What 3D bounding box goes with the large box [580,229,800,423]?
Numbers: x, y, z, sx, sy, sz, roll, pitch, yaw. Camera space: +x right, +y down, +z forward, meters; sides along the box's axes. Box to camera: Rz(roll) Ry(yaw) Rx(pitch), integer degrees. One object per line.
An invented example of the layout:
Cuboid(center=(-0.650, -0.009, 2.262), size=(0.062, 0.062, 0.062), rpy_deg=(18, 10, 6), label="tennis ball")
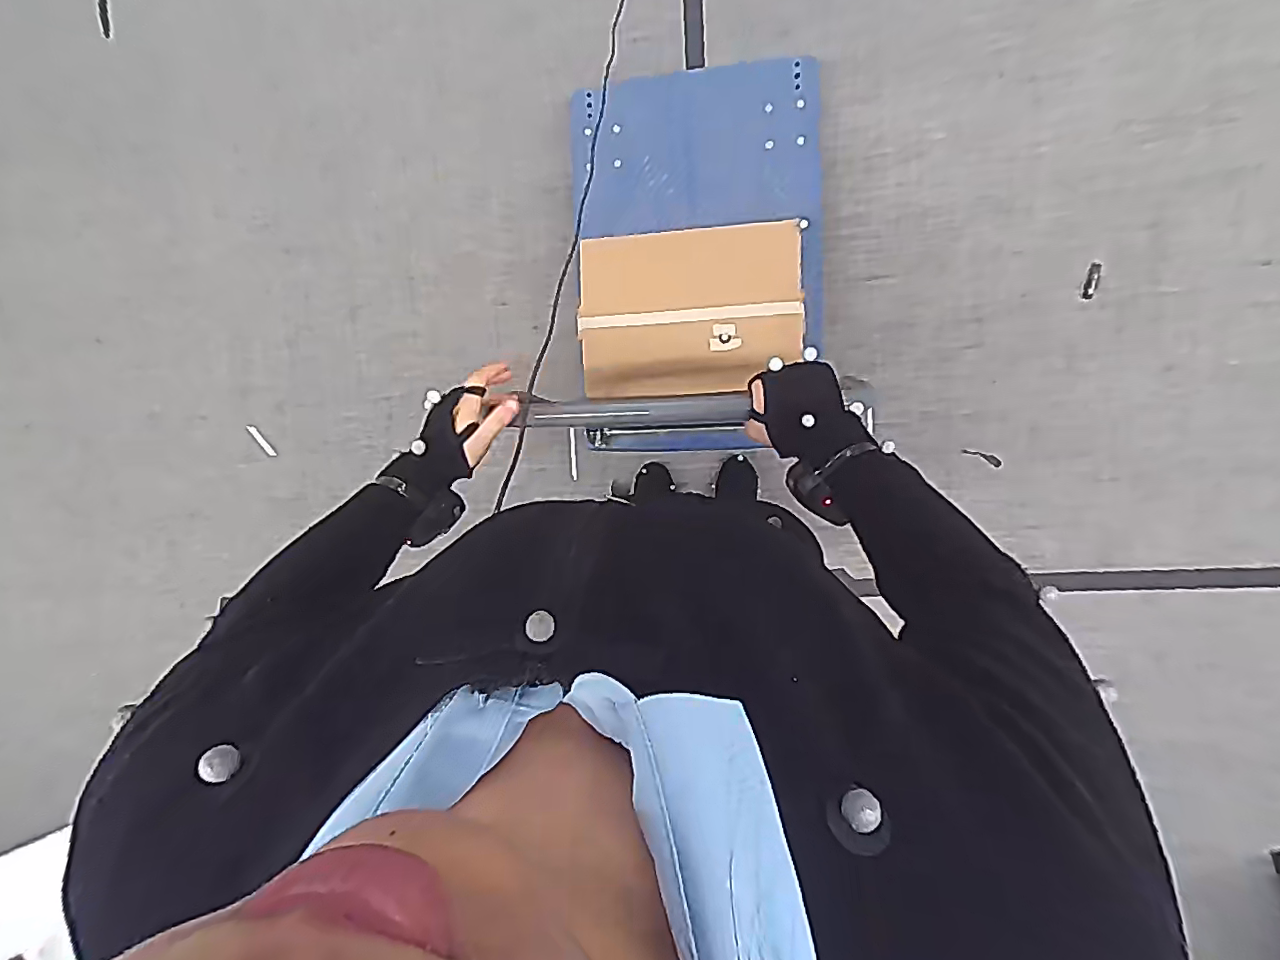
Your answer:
Cuboid(center=(0.107, -0.293, 1.140), size=(0.408, 0.320, 0.320), rpy_deg=(-1, 93, 9), label="large box")
